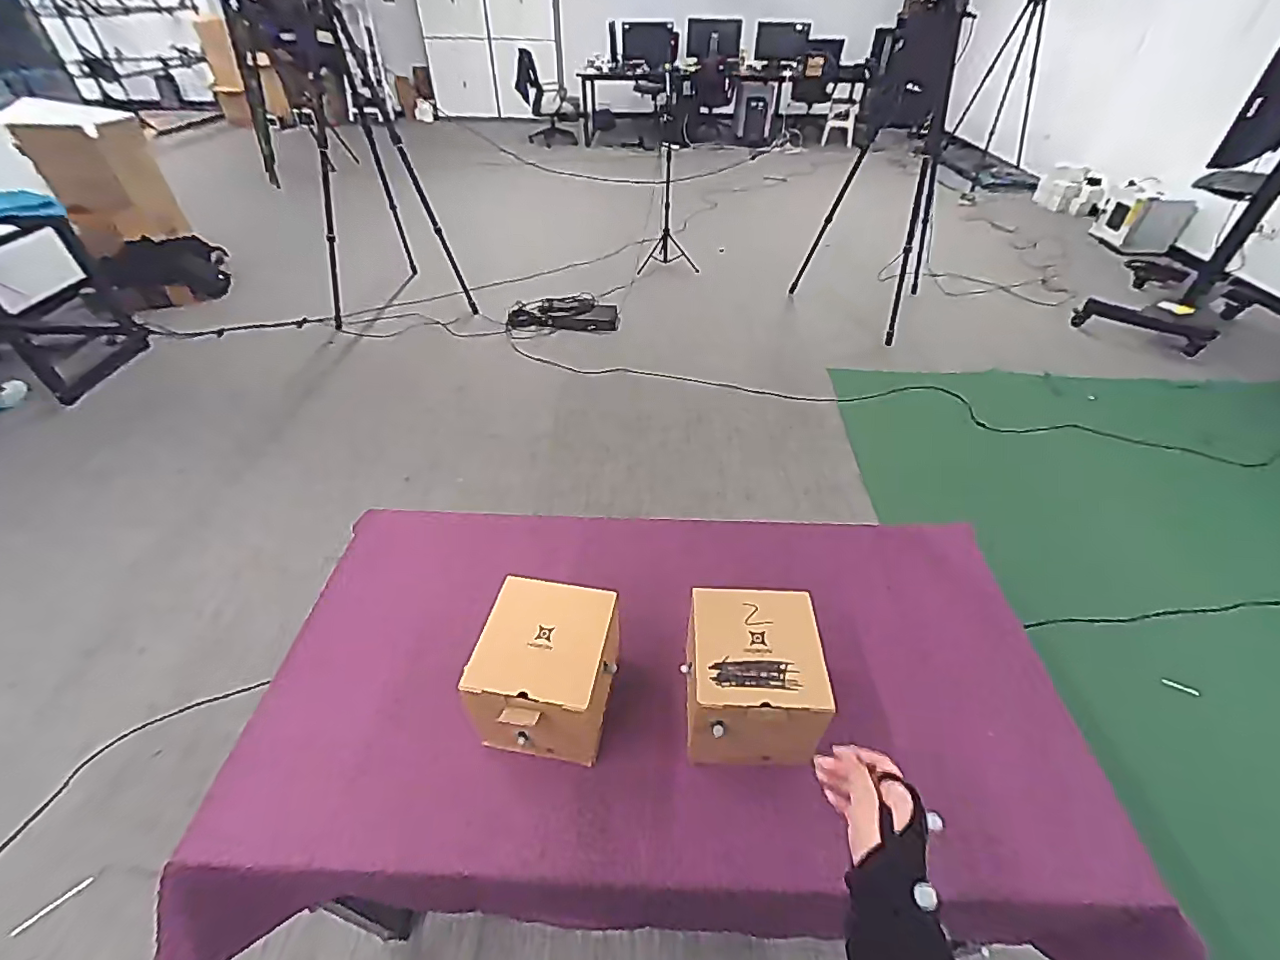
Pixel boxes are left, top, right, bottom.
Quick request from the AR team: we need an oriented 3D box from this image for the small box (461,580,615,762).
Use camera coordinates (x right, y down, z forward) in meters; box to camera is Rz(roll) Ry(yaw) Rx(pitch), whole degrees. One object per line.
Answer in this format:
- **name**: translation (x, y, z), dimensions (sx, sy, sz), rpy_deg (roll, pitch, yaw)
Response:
- **small box**: translation (-0.133, 0.274, 0.781), dimensions (0.168, 0.176, 0.179), rpy_deg (7, 44, 7)
